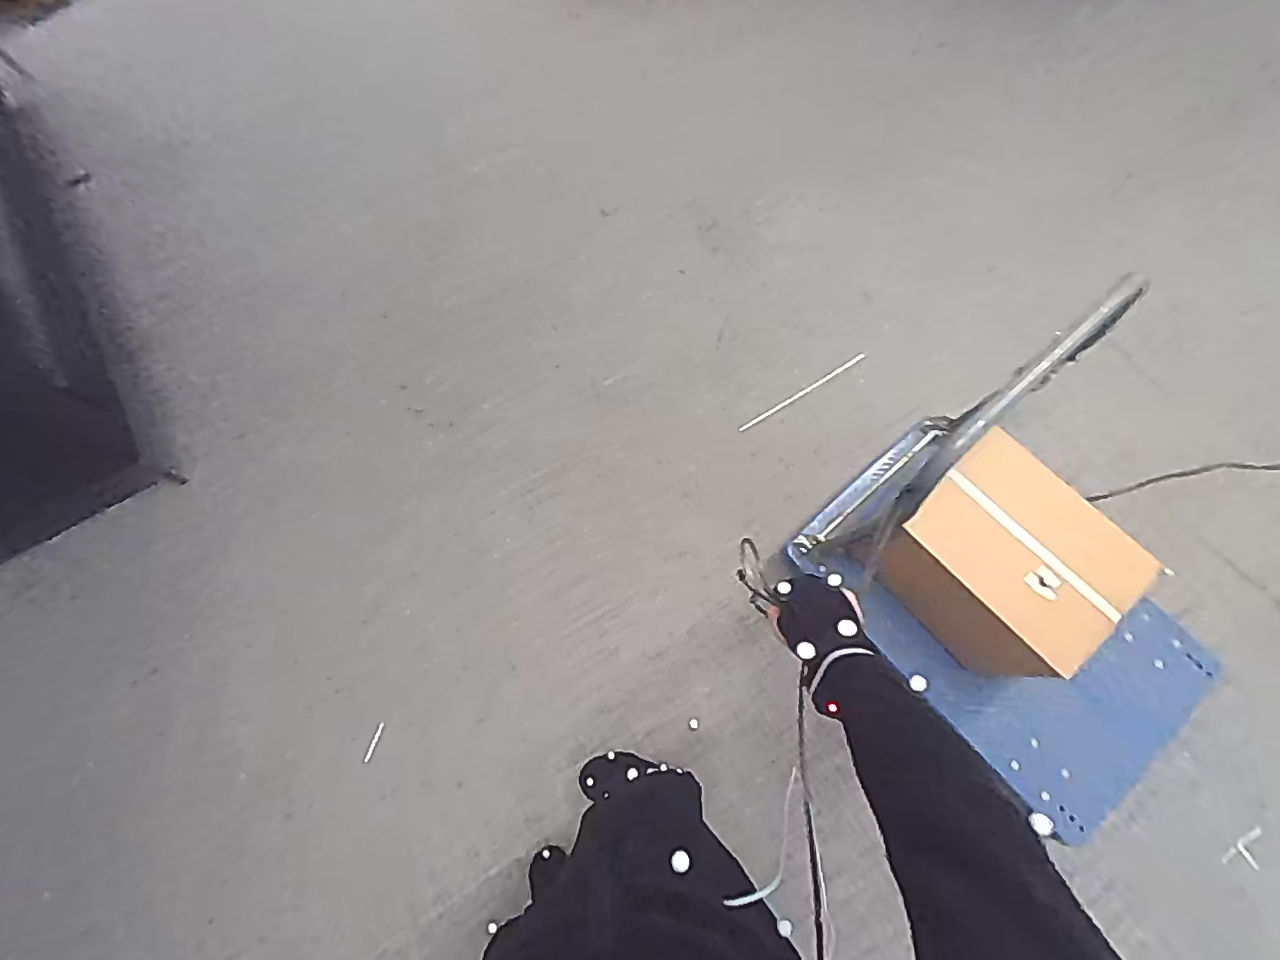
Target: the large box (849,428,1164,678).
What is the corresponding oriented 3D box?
[{"bbox_3d":[0.752,0.167,1.183,0.320,0.320,0.408,-40,76,-10],"label":"large box"}]
